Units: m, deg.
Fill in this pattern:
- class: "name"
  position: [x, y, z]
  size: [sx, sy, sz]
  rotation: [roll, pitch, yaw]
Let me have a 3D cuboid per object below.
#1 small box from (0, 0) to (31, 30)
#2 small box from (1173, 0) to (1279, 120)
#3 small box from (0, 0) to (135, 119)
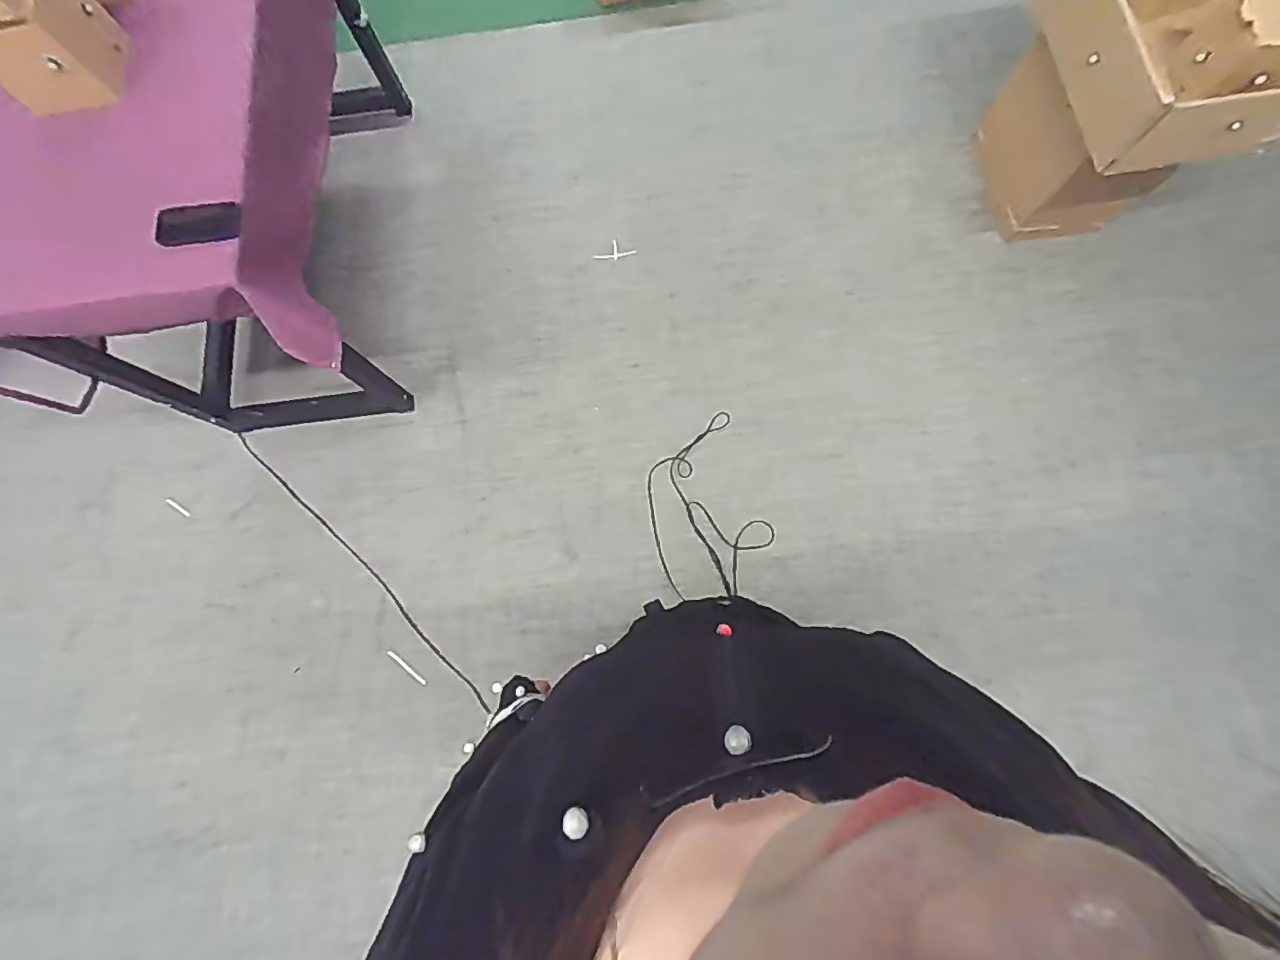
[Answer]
- class: "small box"
  position: [-1.130, -0.849, 0.852]
  size: [0.179, 0.176, 0.168]
  rotation: [-8, 76, 2]
- class: "small box"
  position: [1.298, -0.904, 1.152]
  size: [0.179, 0.176, 0.168]
  rotation: [-1, 77, 4]
- class: "small box"
  position: [-1.111, -0.822, 1.014]
  size: [0.179, 0.176, 0.168]
  rotation: [-7, 76, 2]
